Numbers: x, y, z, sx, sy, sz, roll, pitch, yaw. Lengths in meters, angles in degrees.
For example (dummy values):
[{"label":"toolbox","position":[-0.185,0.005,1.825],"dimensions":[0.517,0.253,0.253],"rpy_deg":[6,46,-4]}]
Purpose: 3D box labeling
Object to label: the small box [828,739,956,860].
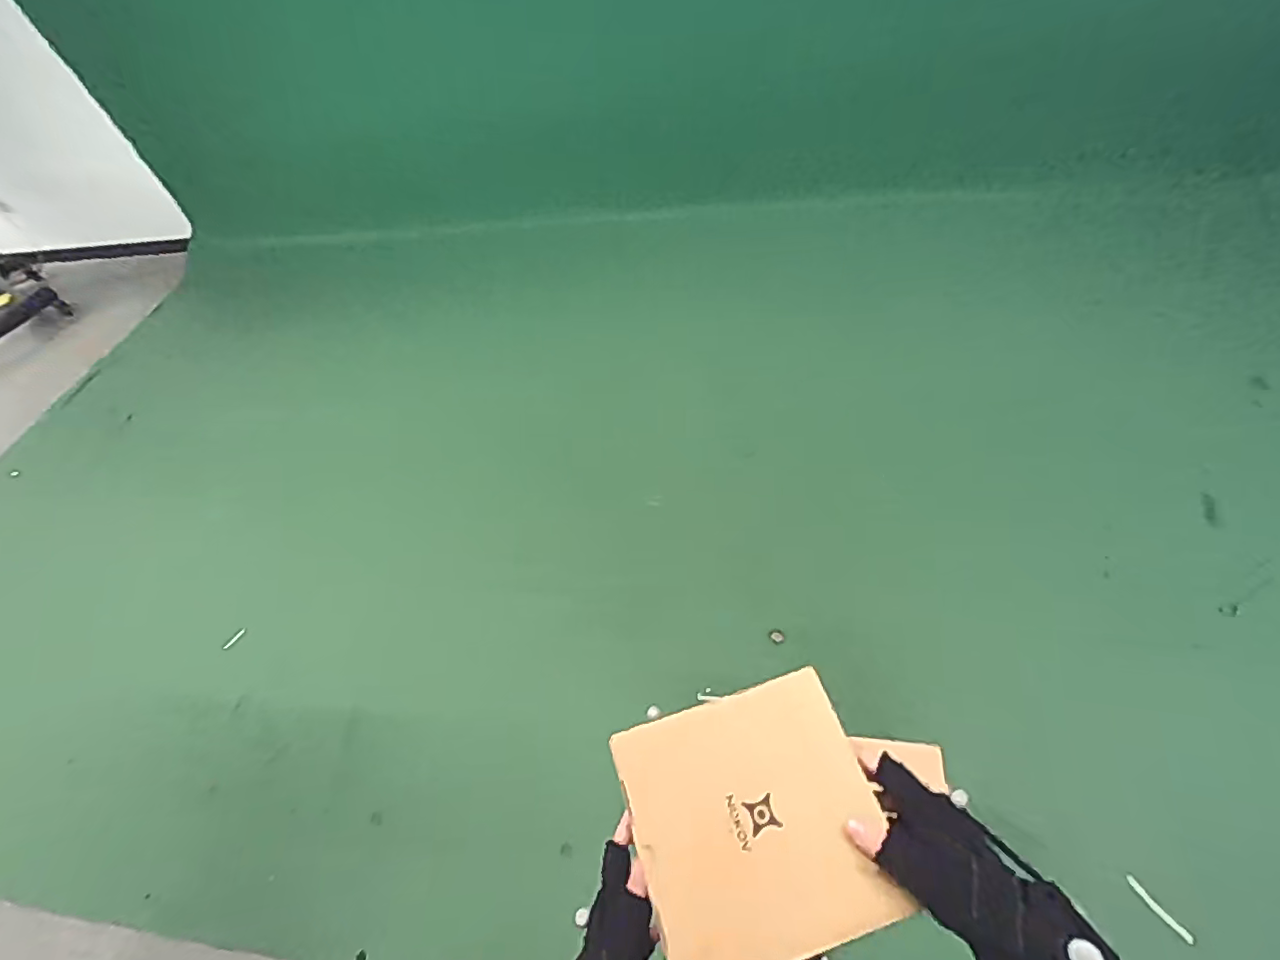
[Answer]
[{"label":"small box","position":[0.460,0.603,1.017],"dimensions":[0.179,0.176,0.168],"rpy_deg":[2,54,11]}]
